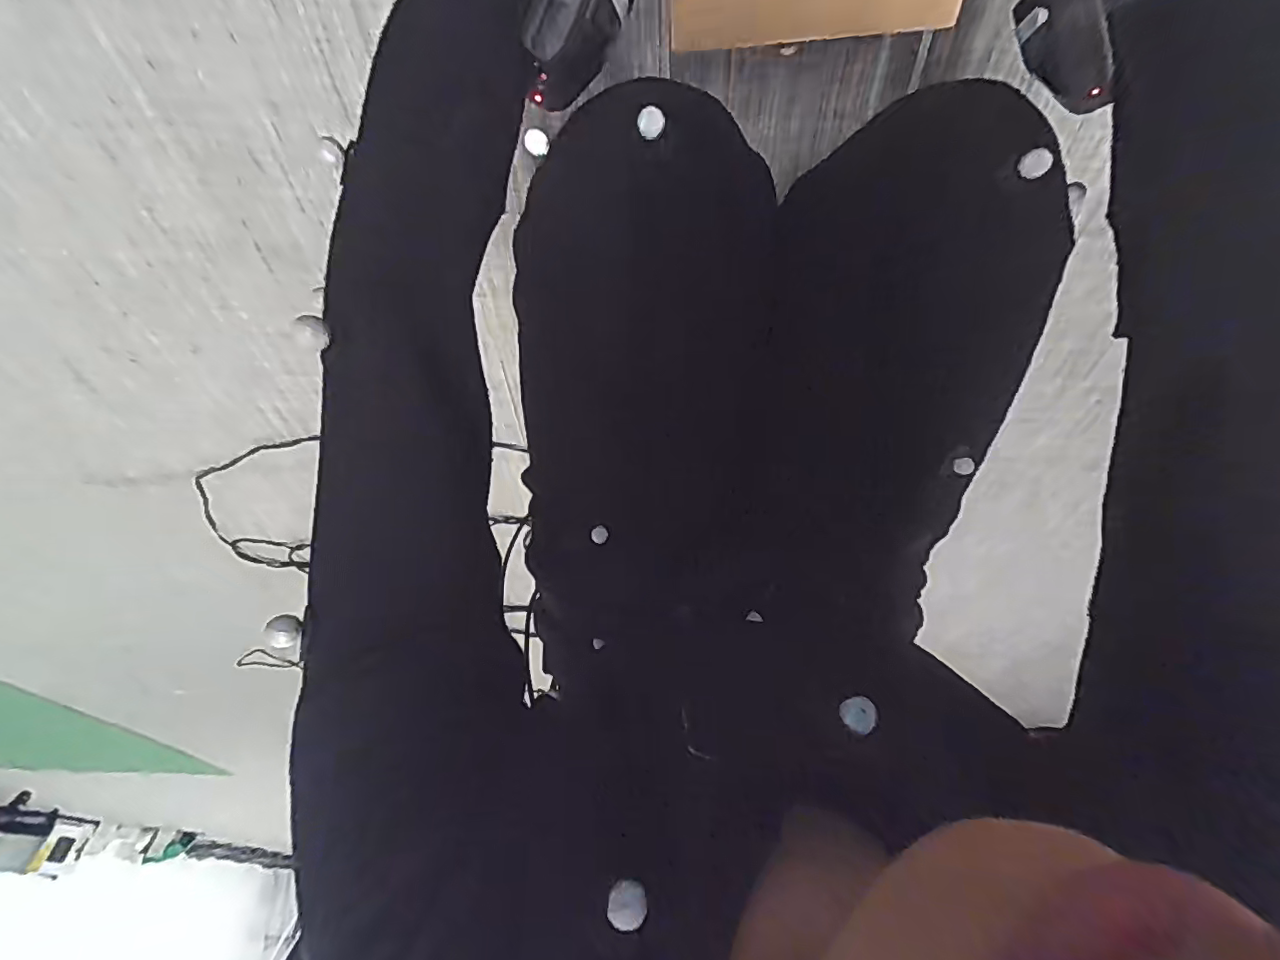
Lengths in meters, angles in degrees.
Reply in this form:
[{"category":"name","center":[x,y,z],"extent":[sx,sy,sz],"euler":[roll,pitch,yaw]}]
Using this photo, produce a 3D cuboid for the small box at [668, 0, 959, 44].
[{"category":"small box","center":[0.102,-0.392,0.318],"extent":[0.179,0.176,0.168],"euler":[-1,145,5]}]
